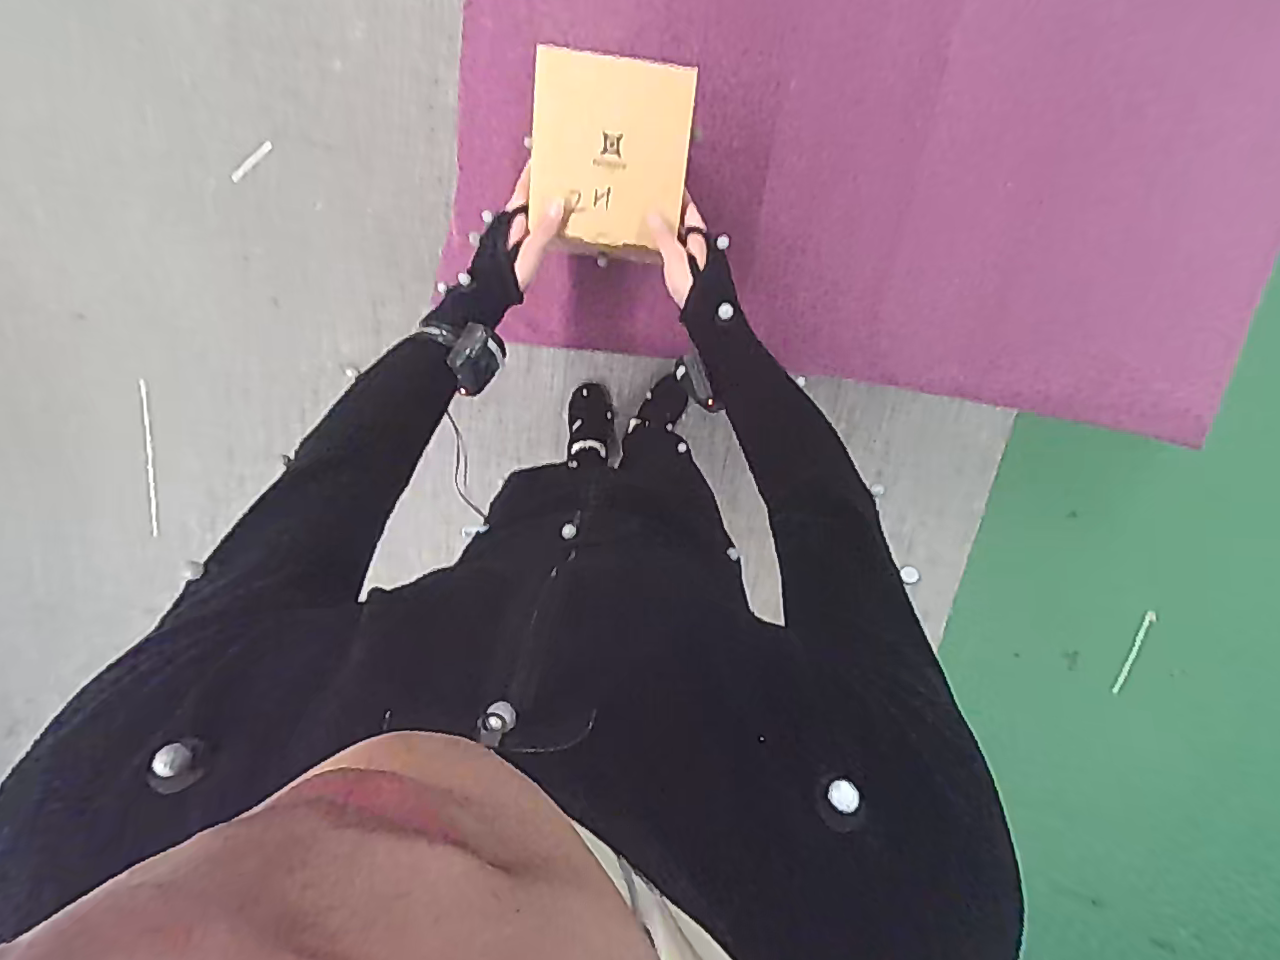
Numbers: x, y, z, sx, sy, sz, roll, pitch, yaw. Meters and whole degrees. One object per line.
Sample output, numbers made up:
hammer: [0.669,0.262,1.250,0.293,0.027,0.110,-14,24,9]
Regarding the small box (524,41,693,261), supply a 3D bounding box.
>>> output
small box: [-0.040,-0.372,0.646,0.168,0.176,0.179,6,107,-4]
